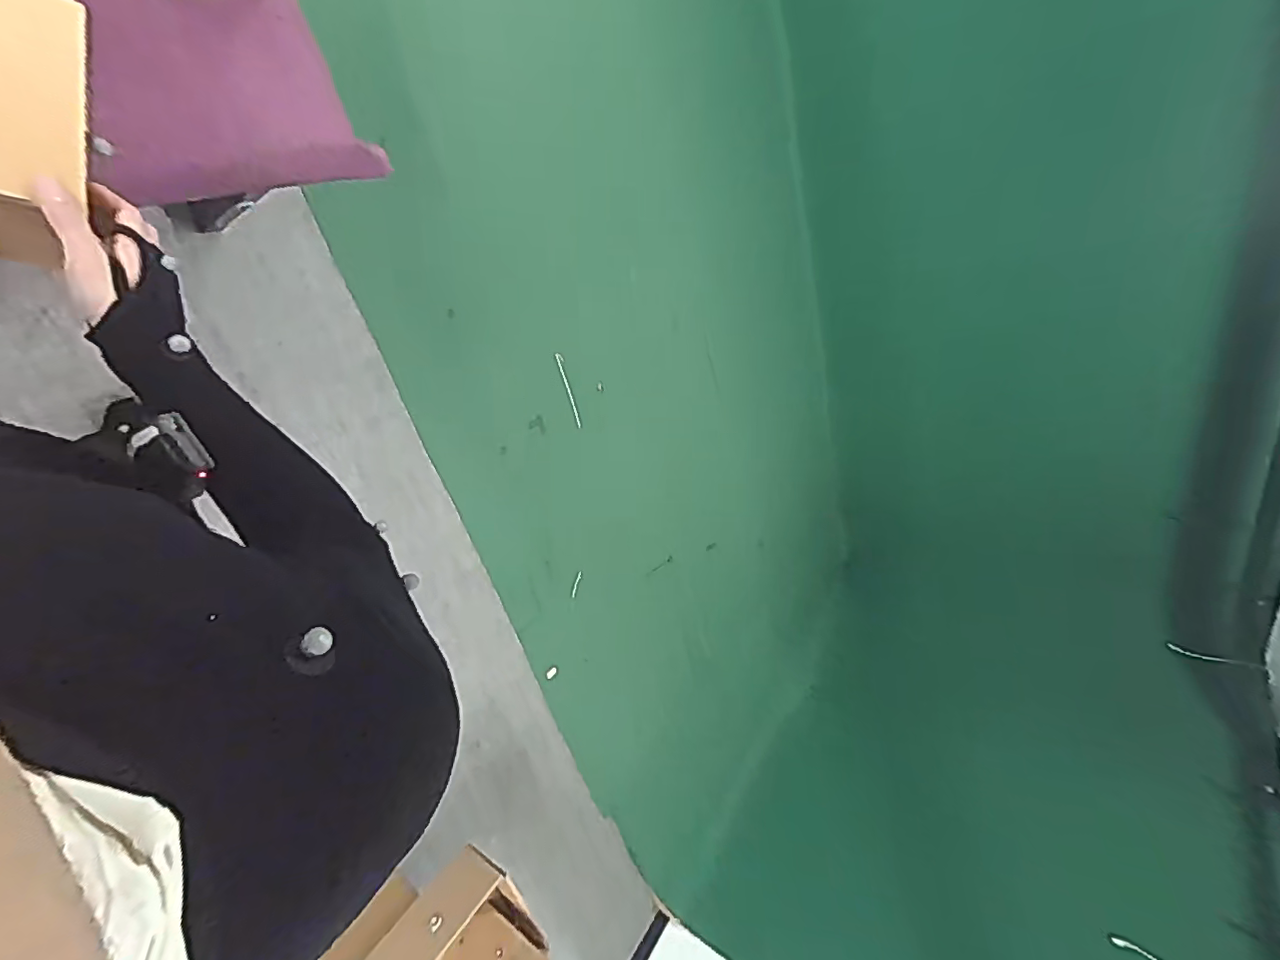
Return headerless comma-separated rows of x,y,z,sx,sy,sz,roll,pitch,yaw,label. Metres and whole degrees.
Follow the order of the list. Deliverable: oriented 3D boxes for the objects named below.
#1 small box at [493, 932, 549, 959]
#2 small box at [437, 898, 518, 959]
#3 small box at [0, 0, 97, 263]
-0.305,1.344,1.409,0.168,0.176,0.179,-36,121,-43,small box
-0.432,1.330,1.513,0.168,0.176,0.179,-39,124,-41,small box
-0.561,-0.302,0.435,0.168,0.176,0.179,0,91,-47,small box
